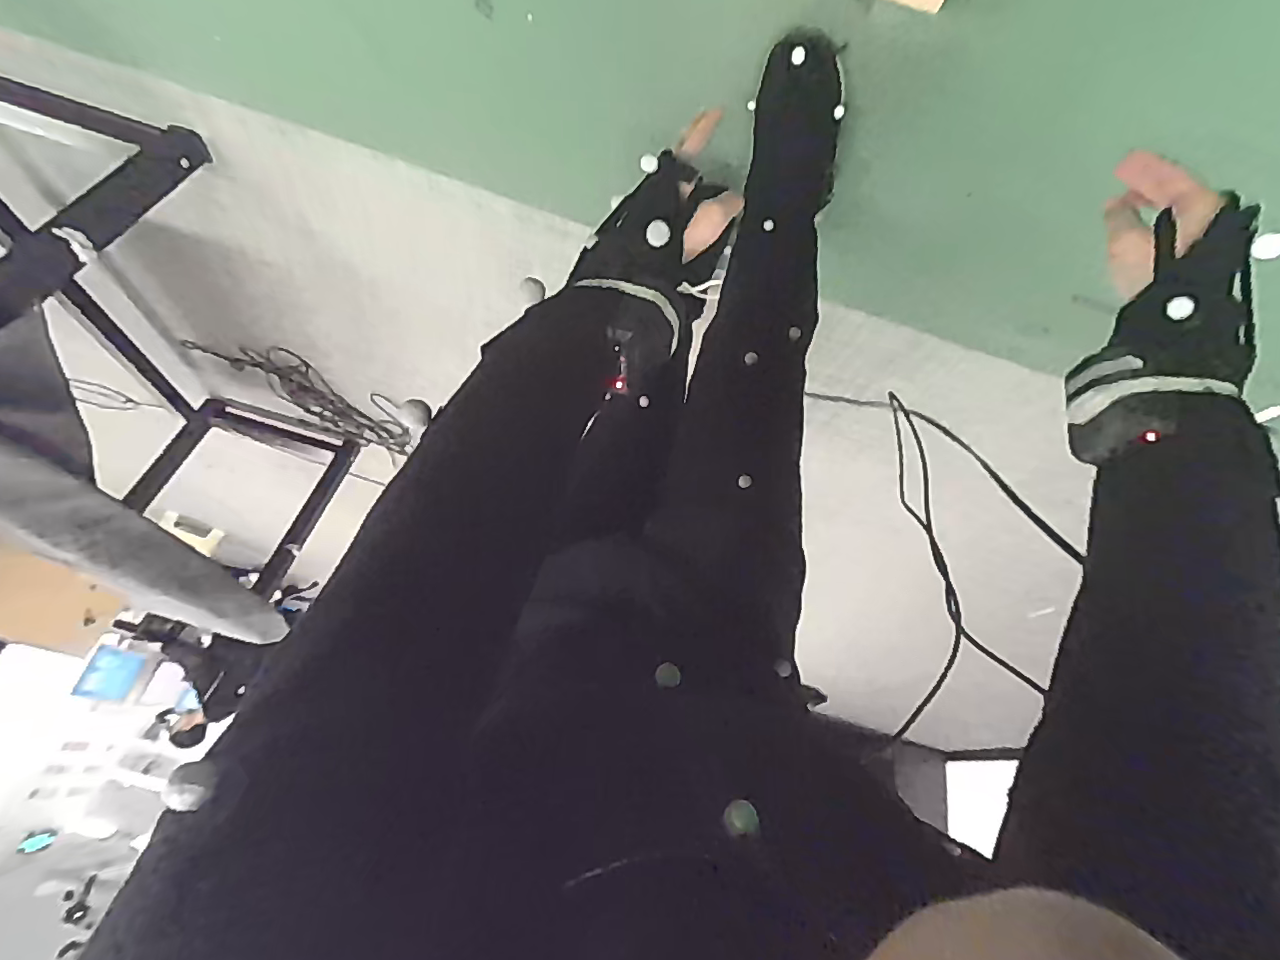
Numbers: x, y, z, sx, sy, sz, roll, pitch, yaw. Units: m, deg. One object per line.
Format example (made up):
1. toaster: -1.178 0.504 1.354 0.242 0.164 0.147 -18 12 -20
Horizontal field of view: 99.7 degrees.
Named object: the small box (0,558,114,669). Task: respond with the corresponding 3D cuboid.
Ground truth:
1. small box: -1.284 0.281 1.142 0.179 0.176 0.168 15 150 2
